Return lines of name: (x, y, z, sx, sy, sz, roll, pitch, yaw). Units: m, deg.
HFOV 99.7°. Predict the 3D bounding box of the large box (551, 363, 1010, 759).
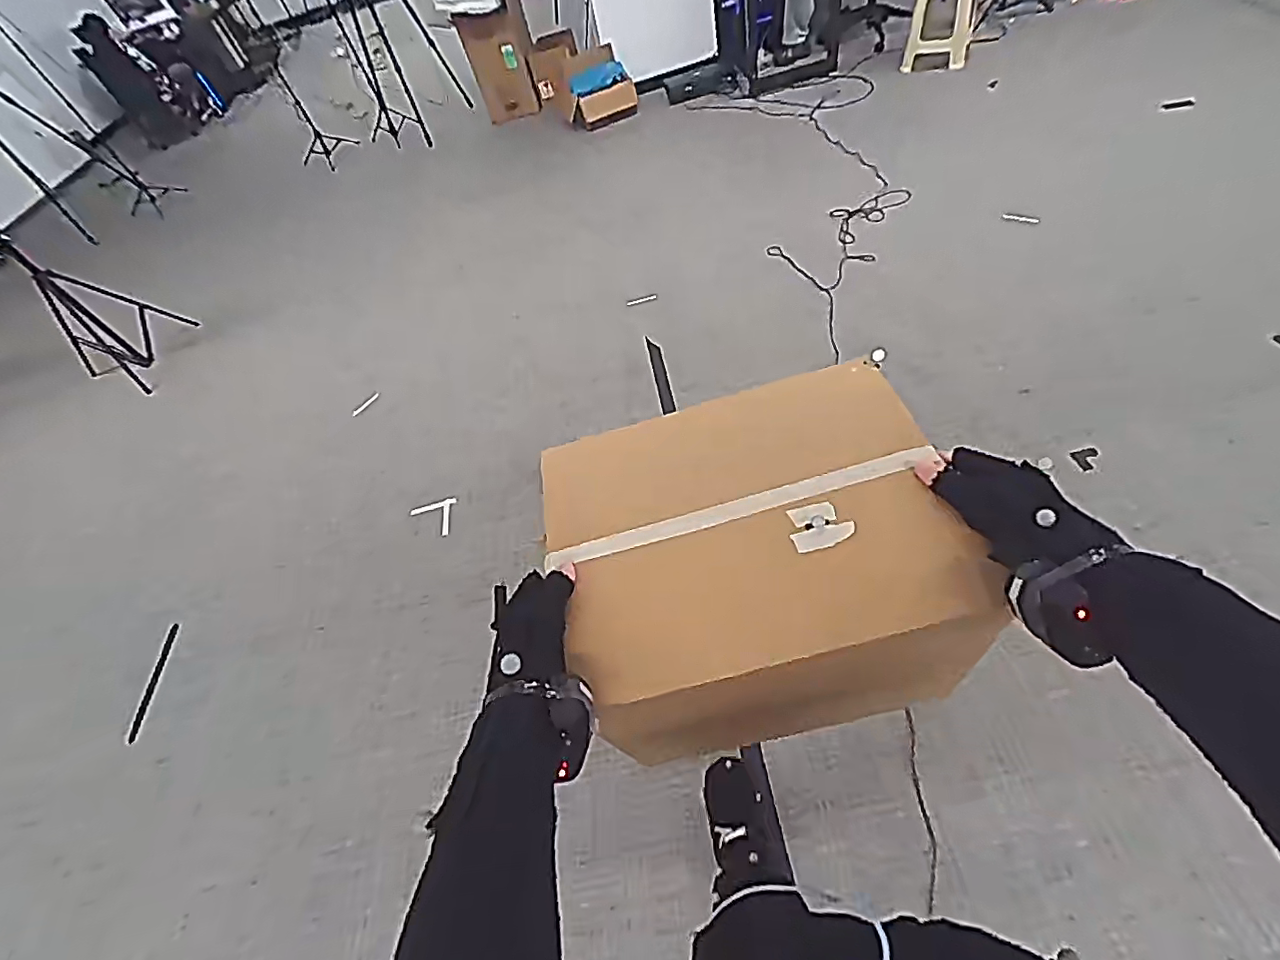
large box: (0.137, 0.117, 0.684, 0.408, 0.320, 0.320, -16, 53, 4)
